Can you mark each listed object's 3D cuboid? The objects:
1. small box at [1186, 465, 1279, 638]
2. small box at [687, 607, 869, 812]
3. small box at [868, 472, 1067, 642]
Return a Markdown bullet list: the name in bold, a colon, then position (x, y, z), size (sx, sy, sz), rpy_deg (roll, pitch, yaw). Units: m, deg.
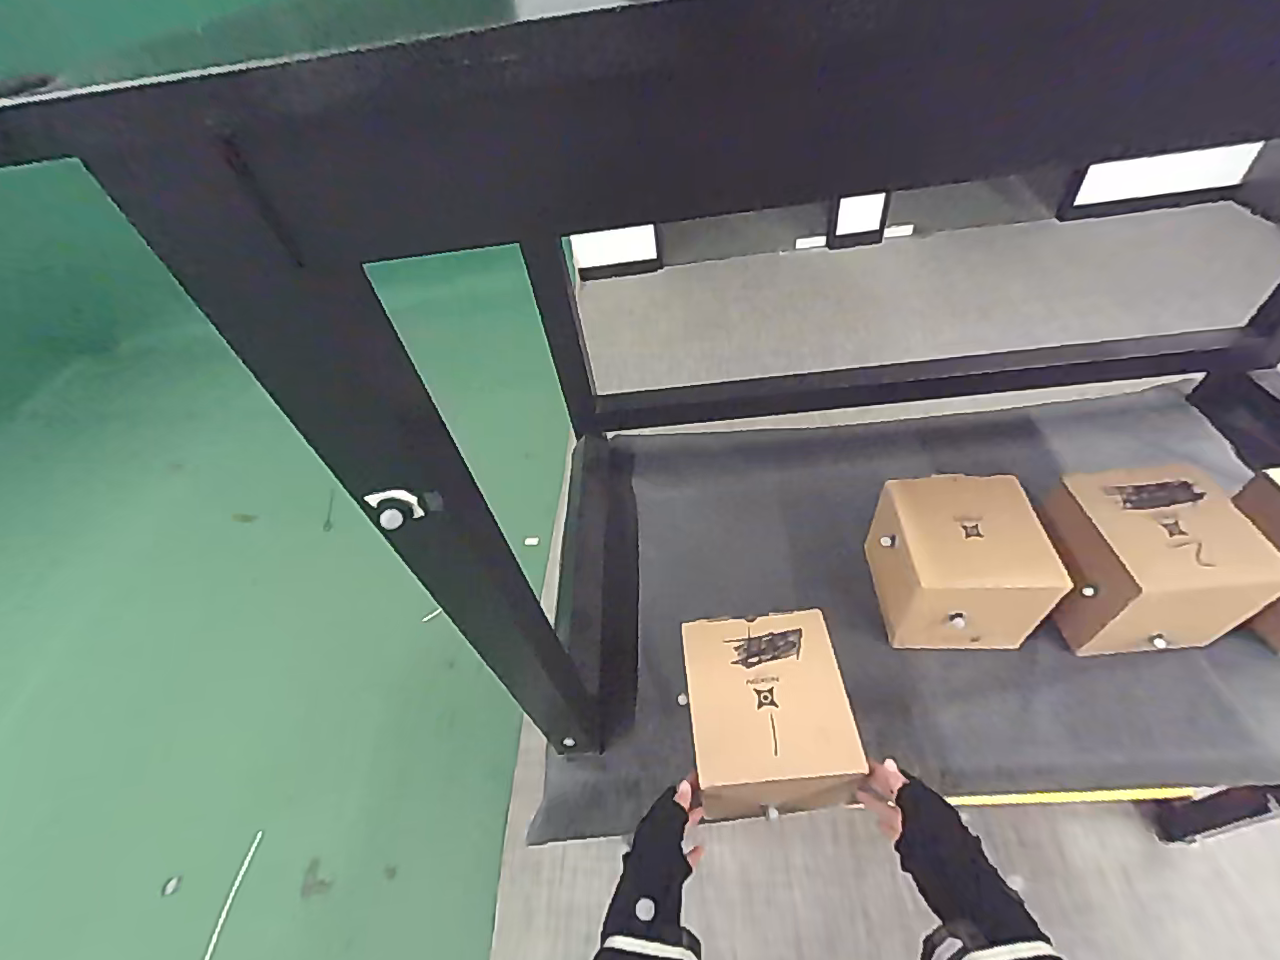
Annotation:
- **small box**: position (0.871, 0.092, 0.677), size (0.168, 0.176, 0.179), rpy_deg (-6, 47, 4)
- **small box**: position (0.147, 0.274, 0.642), size (0.168, 0.176, 0.179), rpy_deg (-7, 49, 3)
- **small box**: position (0.428, 0.111, 0.744), size (0.168, 0.176, 0.179), rpy_deg (-2, 48, 8)
